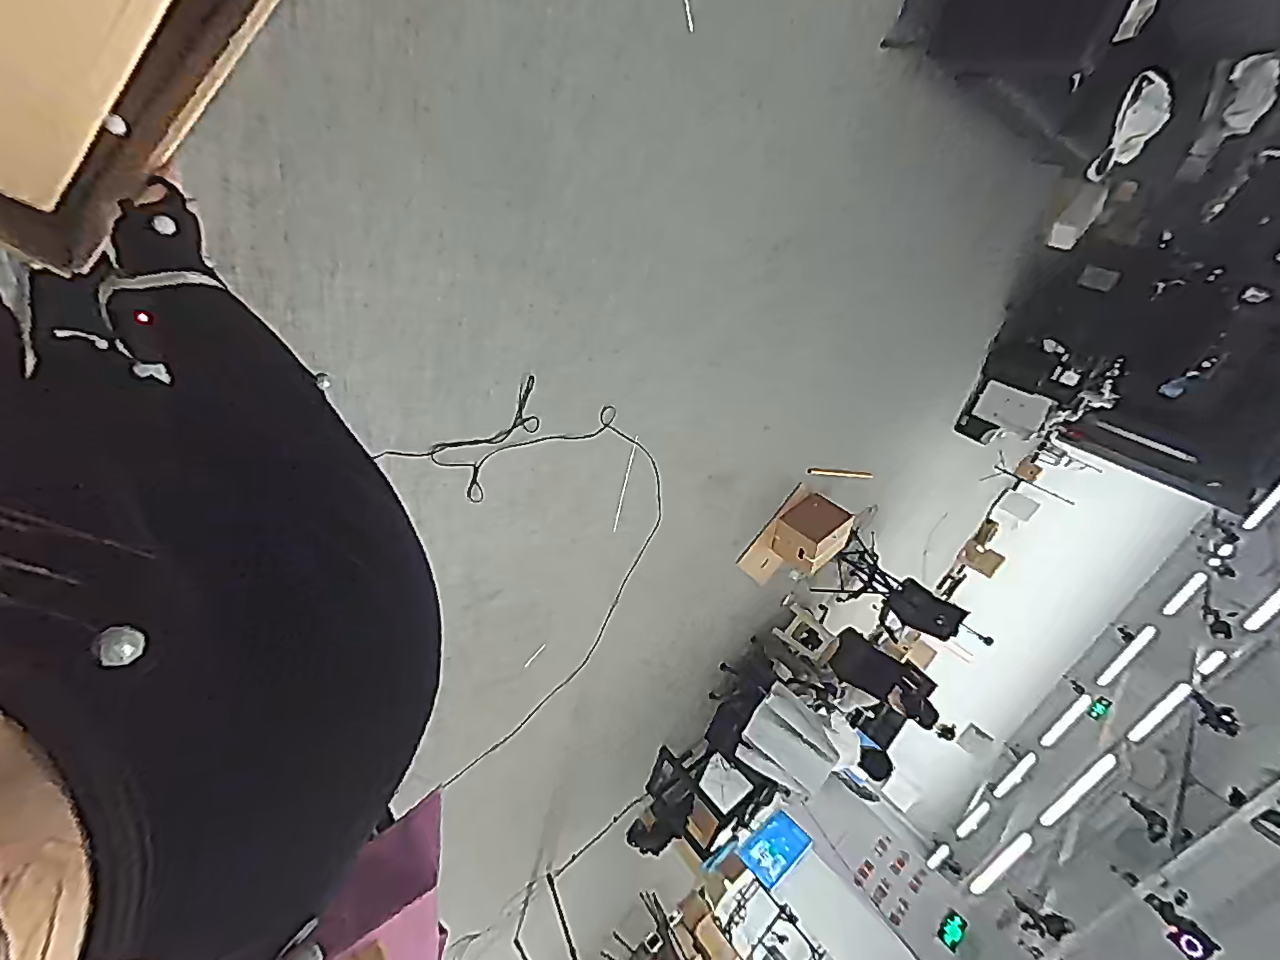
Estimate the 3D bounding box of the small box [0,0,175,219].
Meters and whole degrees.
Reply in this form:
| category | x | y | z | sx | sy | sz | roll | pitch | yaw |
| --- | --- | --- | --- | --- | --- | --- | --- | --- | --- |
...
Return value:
| category | x | y | z | sx | sy | sz | roll | pitch | yaw |
| --- | --- | --- | --- | --- | --- | --- | --- | --- | --- |
| small box | -0.452 | -0.311 | 0.351 | 0.179 | 0.176 | 0.168 | -57 | 145 | 3 |

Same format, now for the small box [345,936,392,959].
| category | x | y | z | sx | sy | sz | roll | pitch | yaw |
| --- | --- | --- | --- | --- | --- | --- | --- | --- | --- |
| small box | -0.681 | 1.267 | 1.306 | 0.179 | 0.176 | 0.168 | -16 | 131 | -39 |
